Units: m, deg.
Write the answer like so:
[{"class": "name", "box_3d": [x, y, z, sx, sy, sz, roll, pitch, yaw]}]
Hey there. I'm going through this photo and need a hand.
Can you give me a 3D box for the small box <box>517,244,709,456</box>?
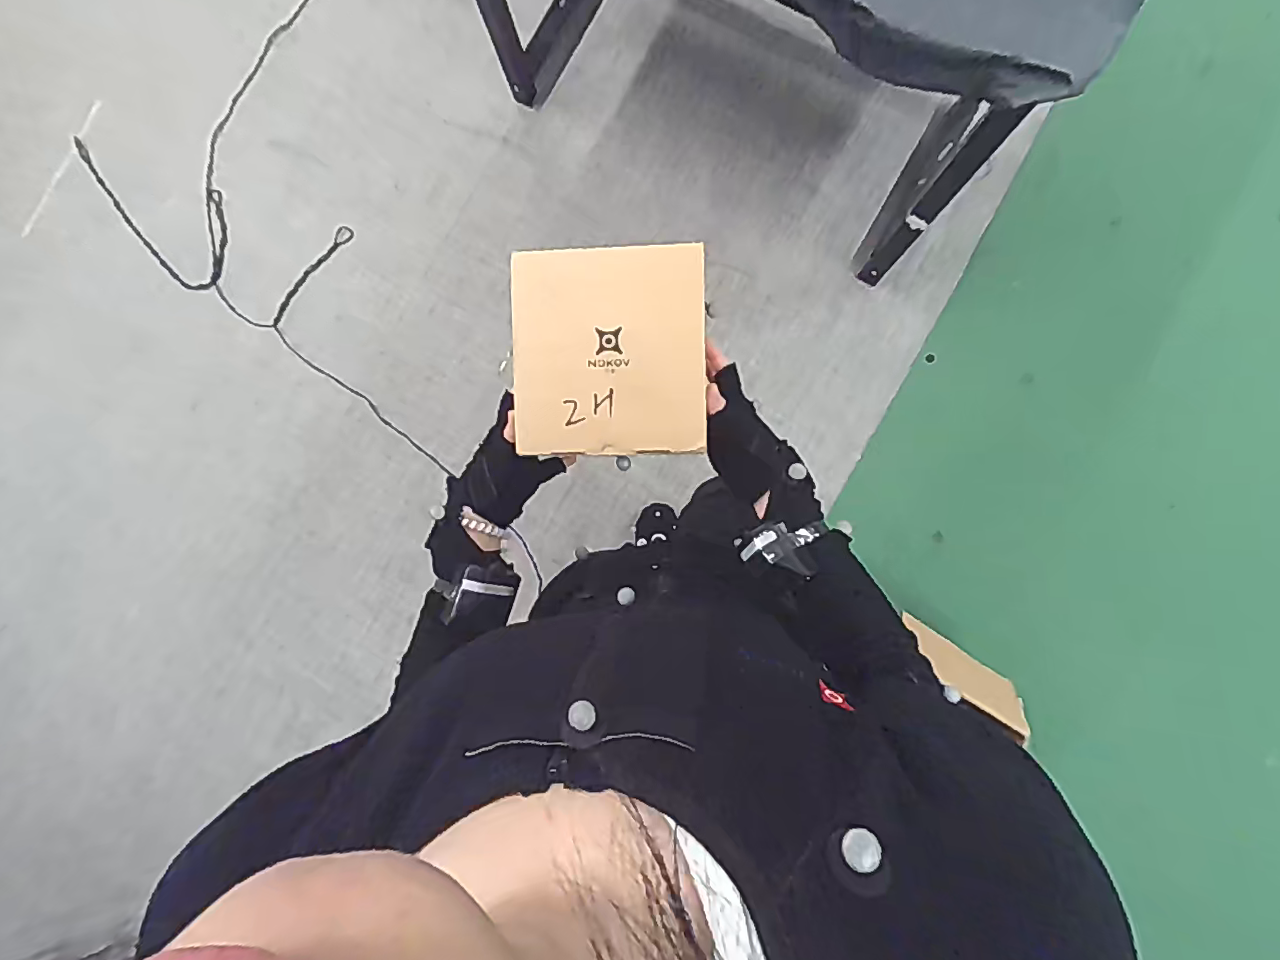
[{"class": "small box", "box_3d": [-0.019, -0.113, 0.536, 0.168, 0.176, 0.179, -1, 93, 4]}]
